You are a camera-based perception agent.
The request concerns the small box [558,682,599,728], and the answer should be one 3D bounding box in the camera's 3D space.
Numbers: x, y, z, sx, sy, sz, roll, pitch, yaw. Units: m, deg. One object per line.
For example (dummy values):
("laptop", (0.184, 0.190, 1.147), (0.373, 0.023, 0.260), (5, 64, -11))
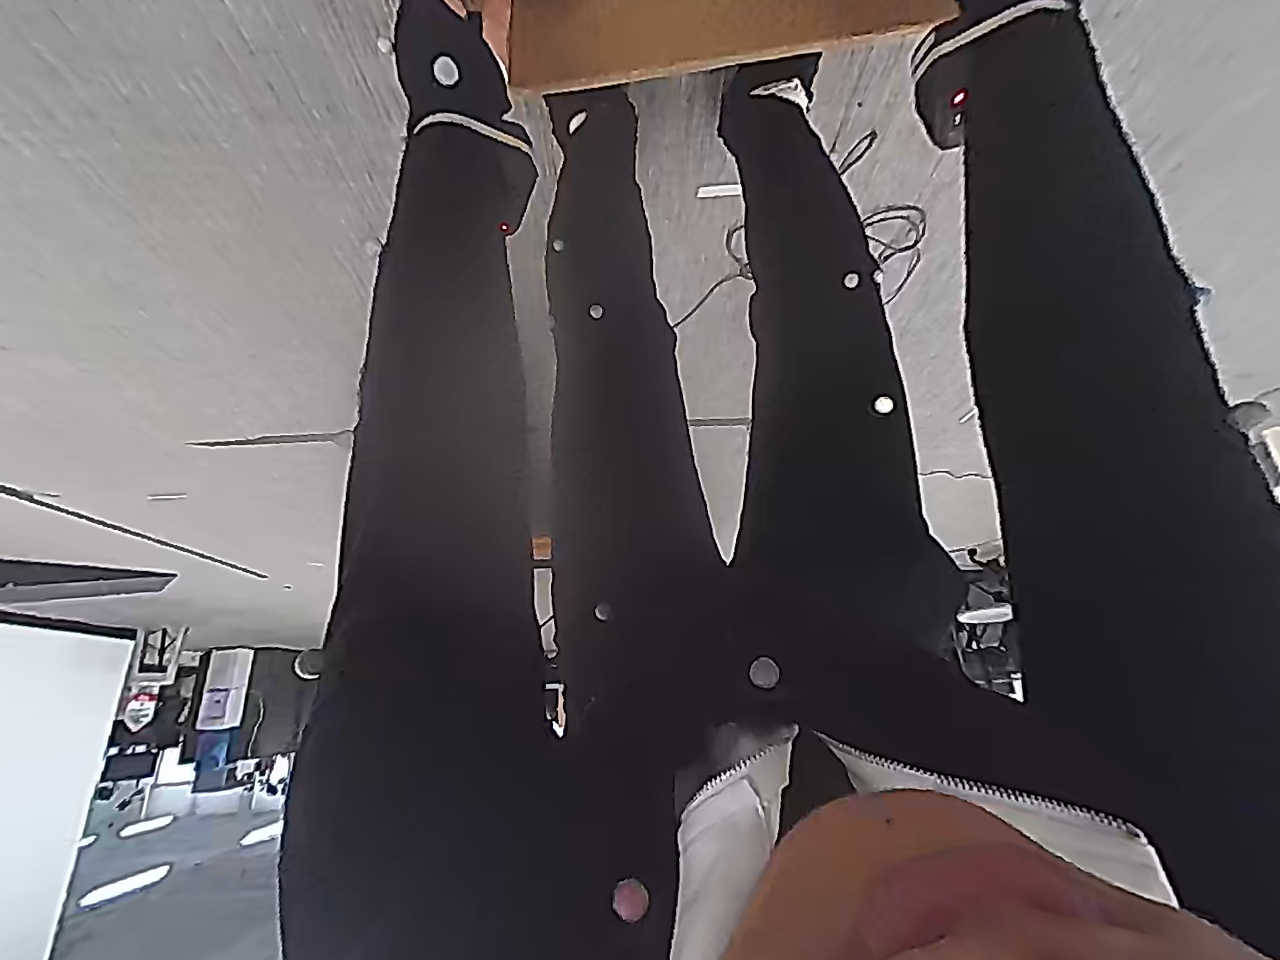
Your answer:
("small box", (-0.258, 0.951, 2.292), (0.168, 0.176, 0.179), (-3, 158, -3))
